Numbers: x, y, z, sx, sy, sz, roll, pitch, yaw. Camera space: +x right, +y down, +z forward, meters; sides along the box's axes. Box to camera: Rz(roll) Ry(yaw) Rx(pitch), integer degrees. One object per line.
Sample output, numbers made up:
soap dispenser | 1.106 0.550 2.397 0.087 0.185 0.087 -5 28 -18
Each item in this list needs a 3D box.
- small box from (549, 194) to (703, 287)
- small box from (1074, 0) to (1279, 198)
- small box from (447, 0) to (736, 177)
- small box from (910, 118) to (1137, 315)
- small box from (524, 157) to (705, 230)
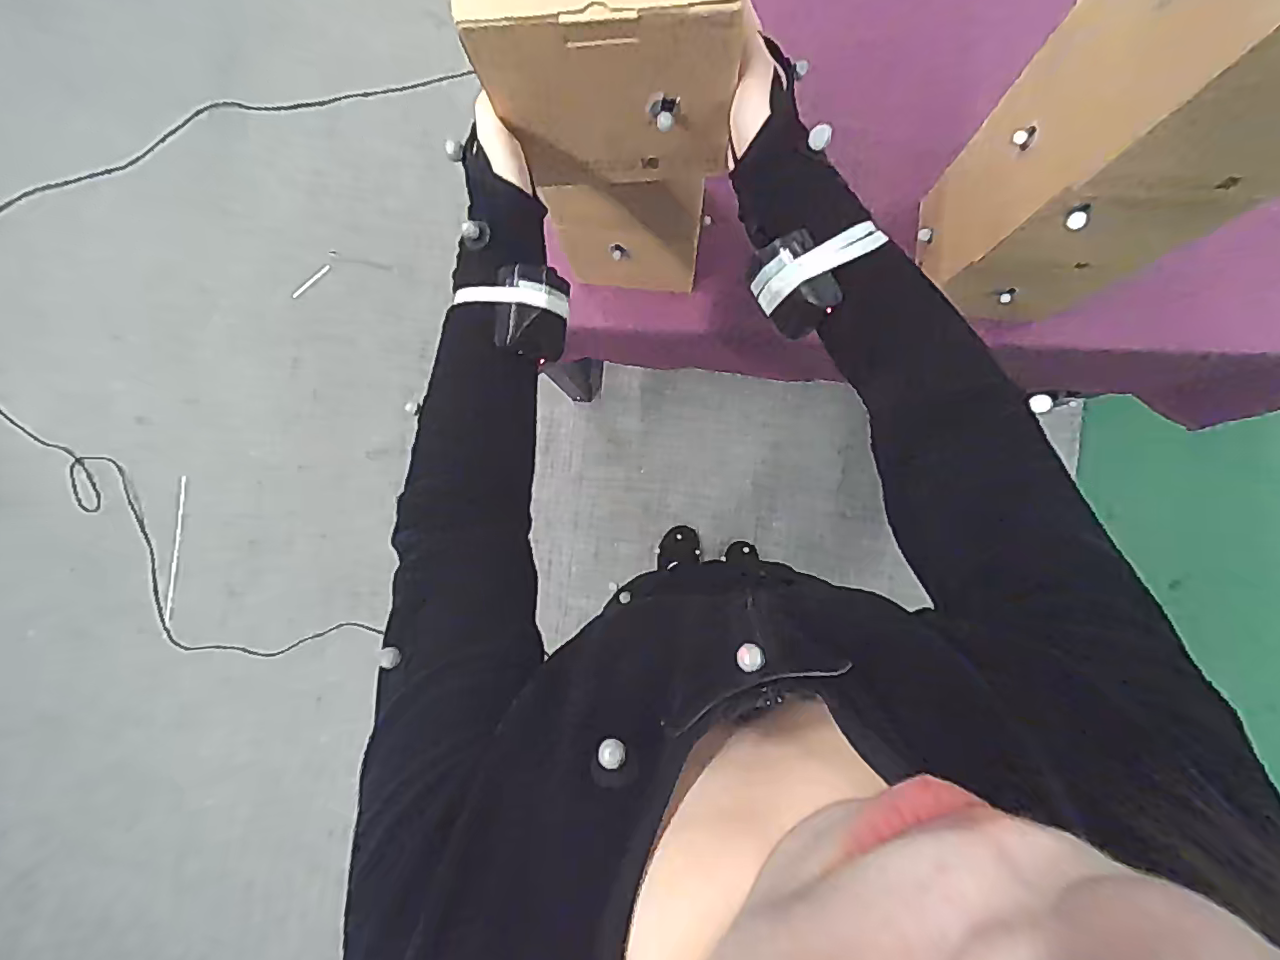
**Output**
small box | -0.008 -0.372 0.722 0.179 0.176 0.168 6 89 4
small box | 0.433 -0.322 0.360 0.168 0.176 0.179 3 87 5
small box | -0.020 -0.335 0.375 0.168 0.176 0.179 0 90 4
small box | 0.474 -0.320 0.688 0.179 0.176 0.168 6 88 5
small box | -0.014 -0.379 0.559 0.179 0.176 0.168 6 88 5
